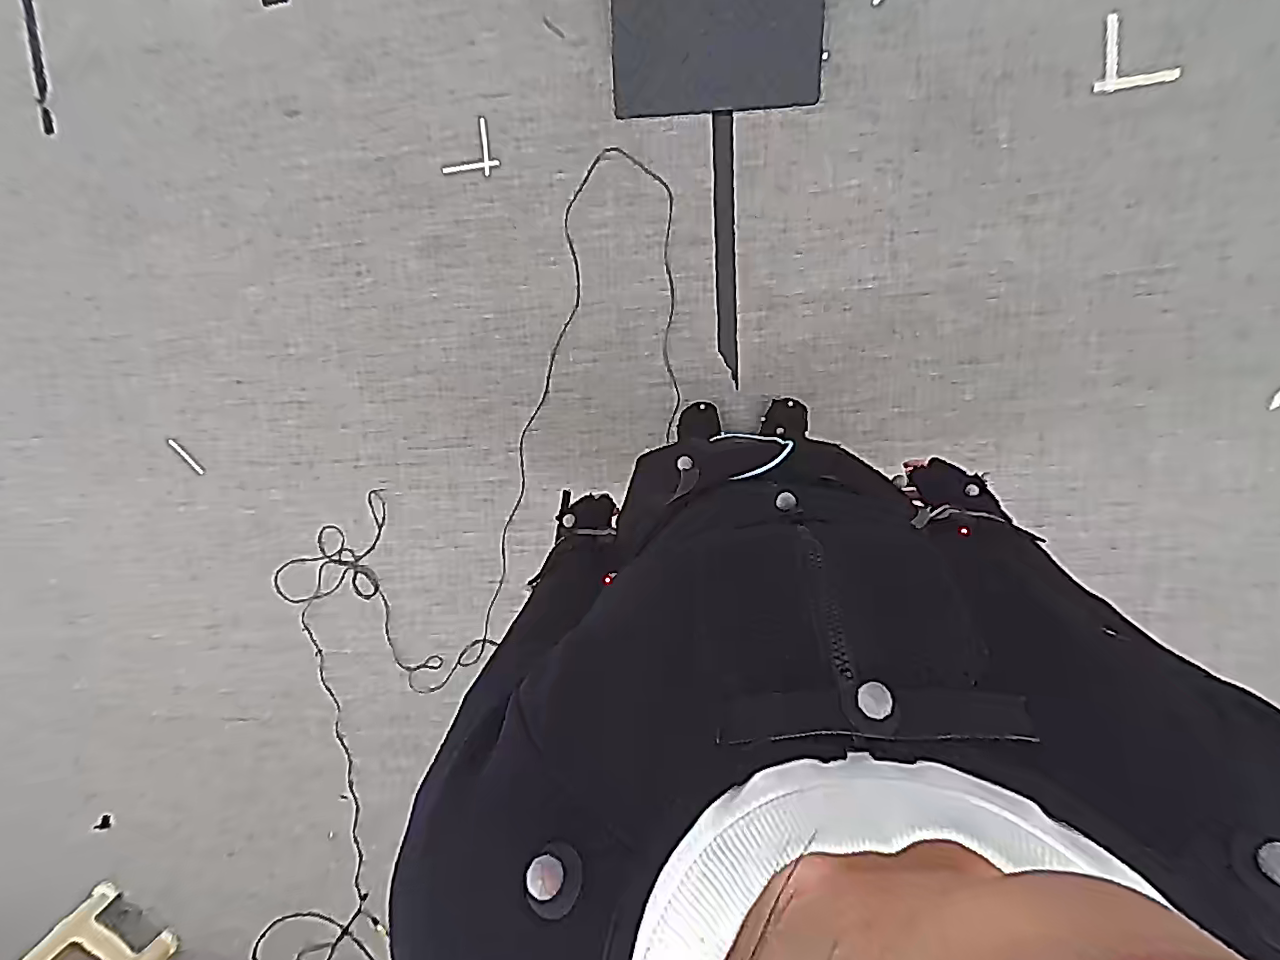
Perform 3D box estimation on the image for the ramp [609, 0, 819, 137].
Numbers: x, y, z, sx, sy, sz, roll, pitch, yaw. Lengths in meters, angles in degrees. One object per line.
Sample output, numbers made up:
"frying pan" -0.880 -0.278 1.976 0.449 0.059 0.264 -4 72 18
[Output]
"ramp" 0.157 -1.349 1.194 0.509 0.206 0.991 -3 97 6
